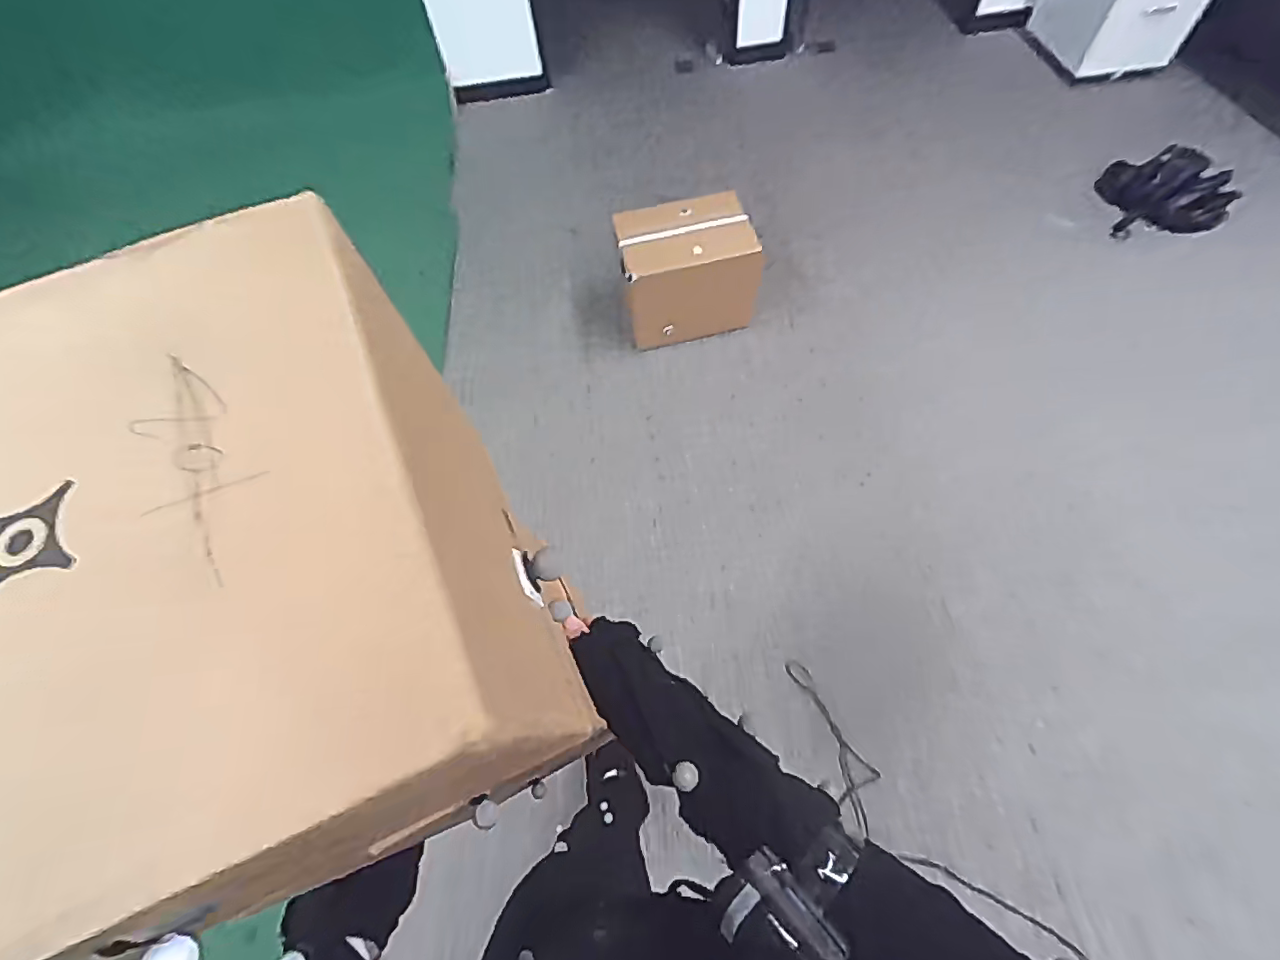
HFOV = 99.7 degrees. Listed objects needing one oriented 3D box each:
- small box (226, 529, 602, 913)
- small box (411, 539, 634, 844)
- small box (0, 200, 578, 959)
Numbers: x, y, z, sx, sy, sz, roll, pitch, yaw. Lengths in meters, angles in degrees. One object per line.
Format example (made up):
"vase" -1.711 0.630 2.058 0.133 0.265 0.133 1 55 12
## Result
"small box" -0.136 0.113 0.345 0.168 0.176 0.179 -26 67 -8
"small box" -0.118 0.184 0.491 0.179 0.176 0.168 -29 67 -11
"small box" -0.139 0.047 0.196 0.179 0.176 0.168 -23 67 -8
